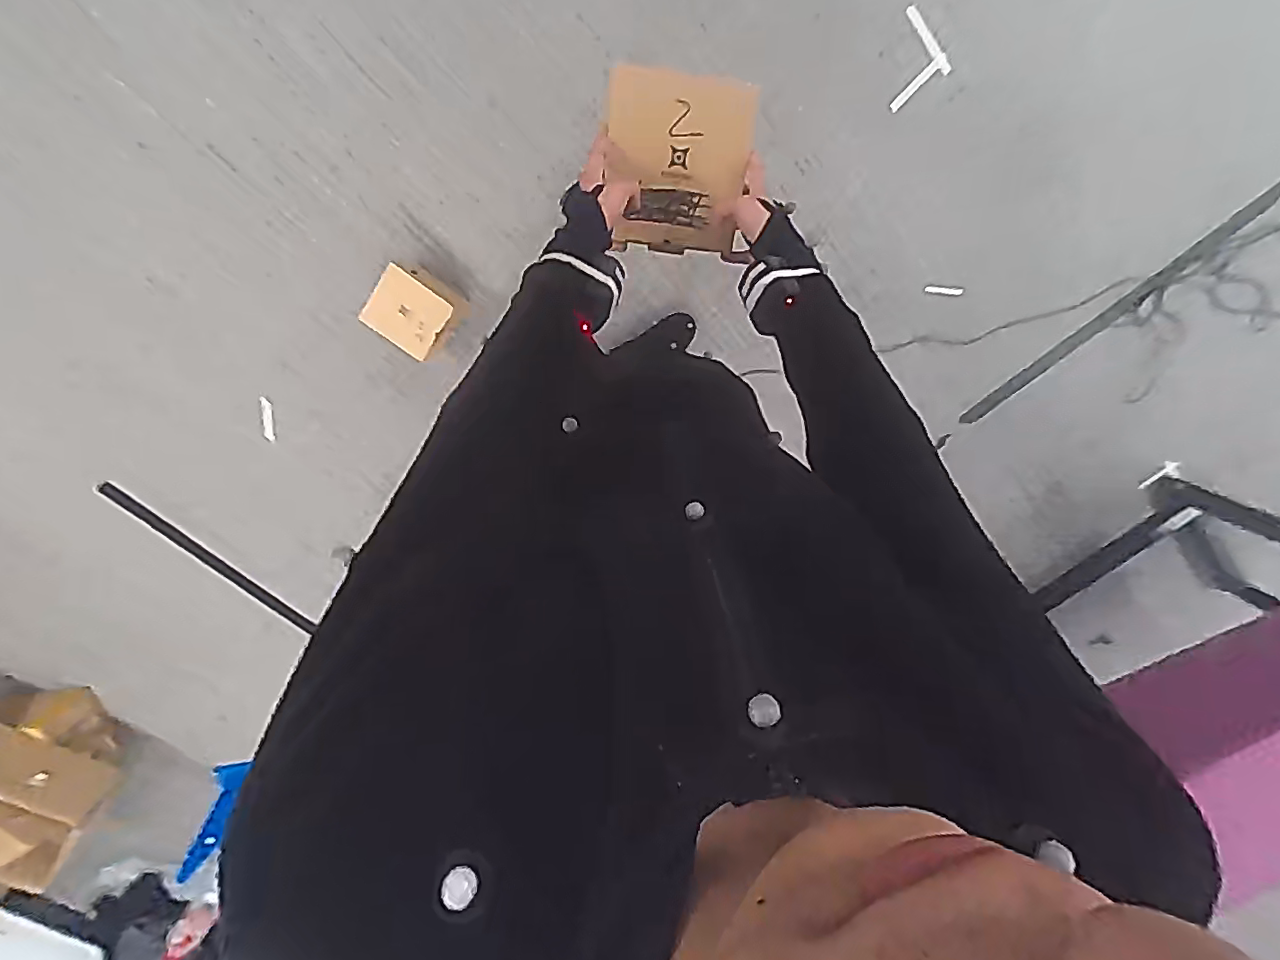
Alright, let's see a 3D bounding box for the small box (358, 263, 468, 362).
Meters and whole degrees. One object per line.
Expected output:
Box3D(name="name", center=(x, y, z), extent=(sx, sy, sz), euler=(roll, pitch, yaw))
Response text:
Box3D(name="small box", center=(-0.571, -0.429, 1.380), extent=(0.179, 0.176, 0.168), euler=(35, 106, -16))
